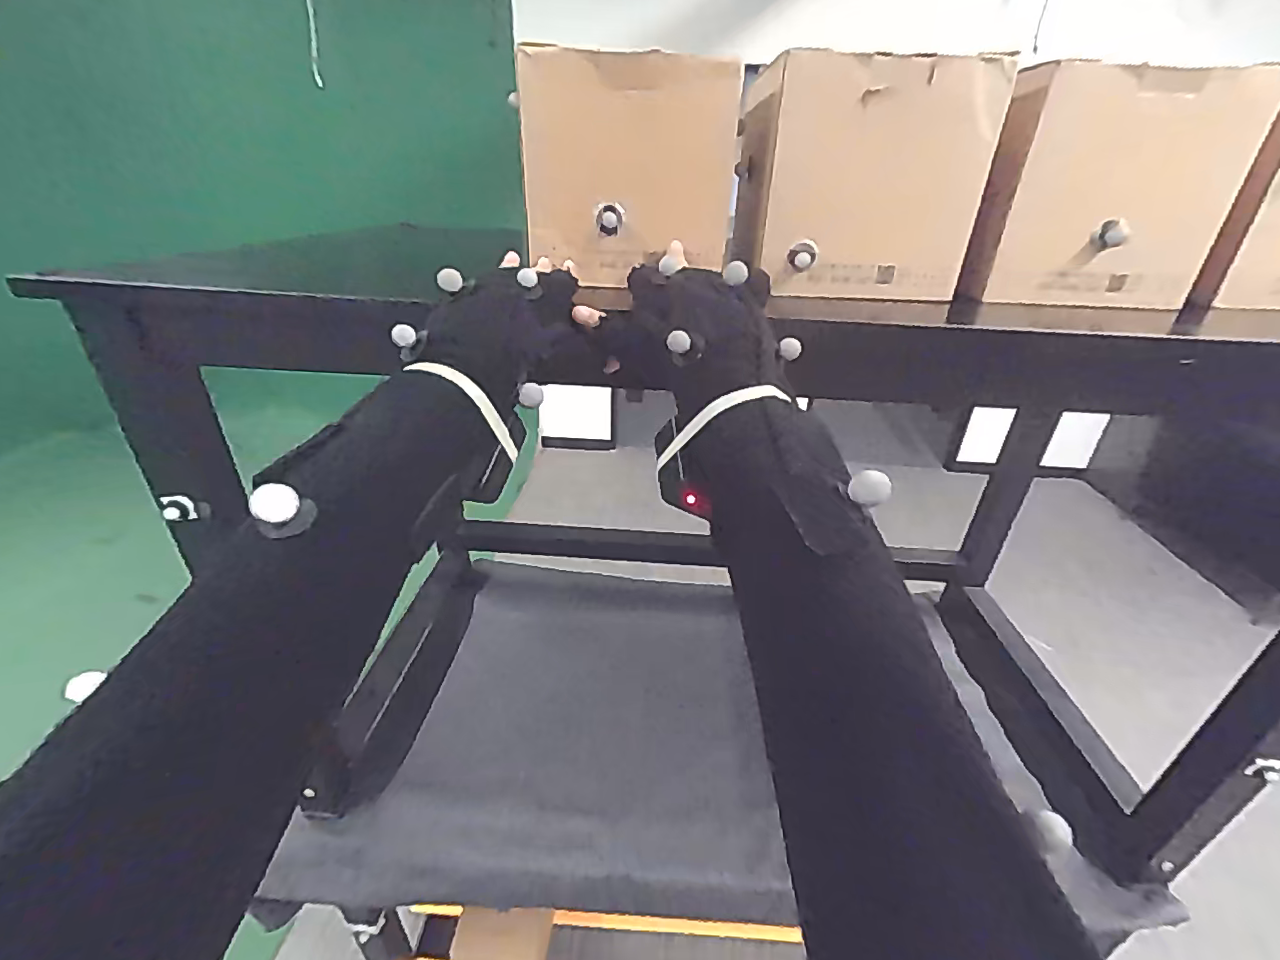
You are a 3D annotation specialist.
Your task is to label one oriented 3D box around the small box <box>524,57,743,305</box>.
[{"bbox_3d":[-0.008,-0.270,0.506,0.168,0.176,0.179,2,30,-1],"label":"small box"}]
